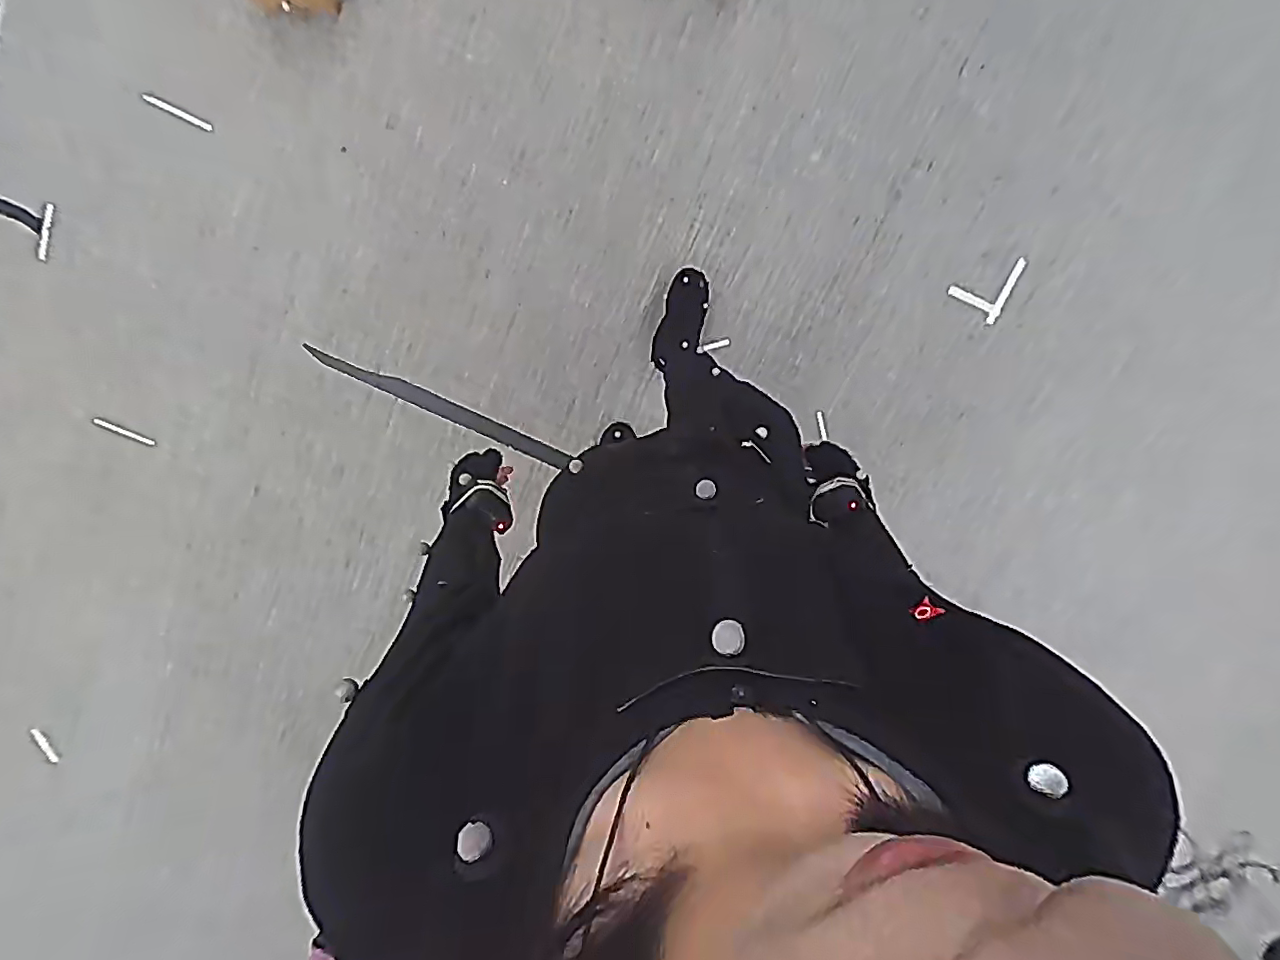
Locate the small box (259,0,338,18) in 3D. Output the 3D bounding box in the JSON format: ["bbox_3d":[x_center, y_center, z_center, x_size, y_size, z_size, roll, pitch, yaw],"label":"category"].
[{"bbox_3d":[-0.748,-1.103,1.110,0.168,0.176,0.179,2,105,-2],"label":"small box"}]
